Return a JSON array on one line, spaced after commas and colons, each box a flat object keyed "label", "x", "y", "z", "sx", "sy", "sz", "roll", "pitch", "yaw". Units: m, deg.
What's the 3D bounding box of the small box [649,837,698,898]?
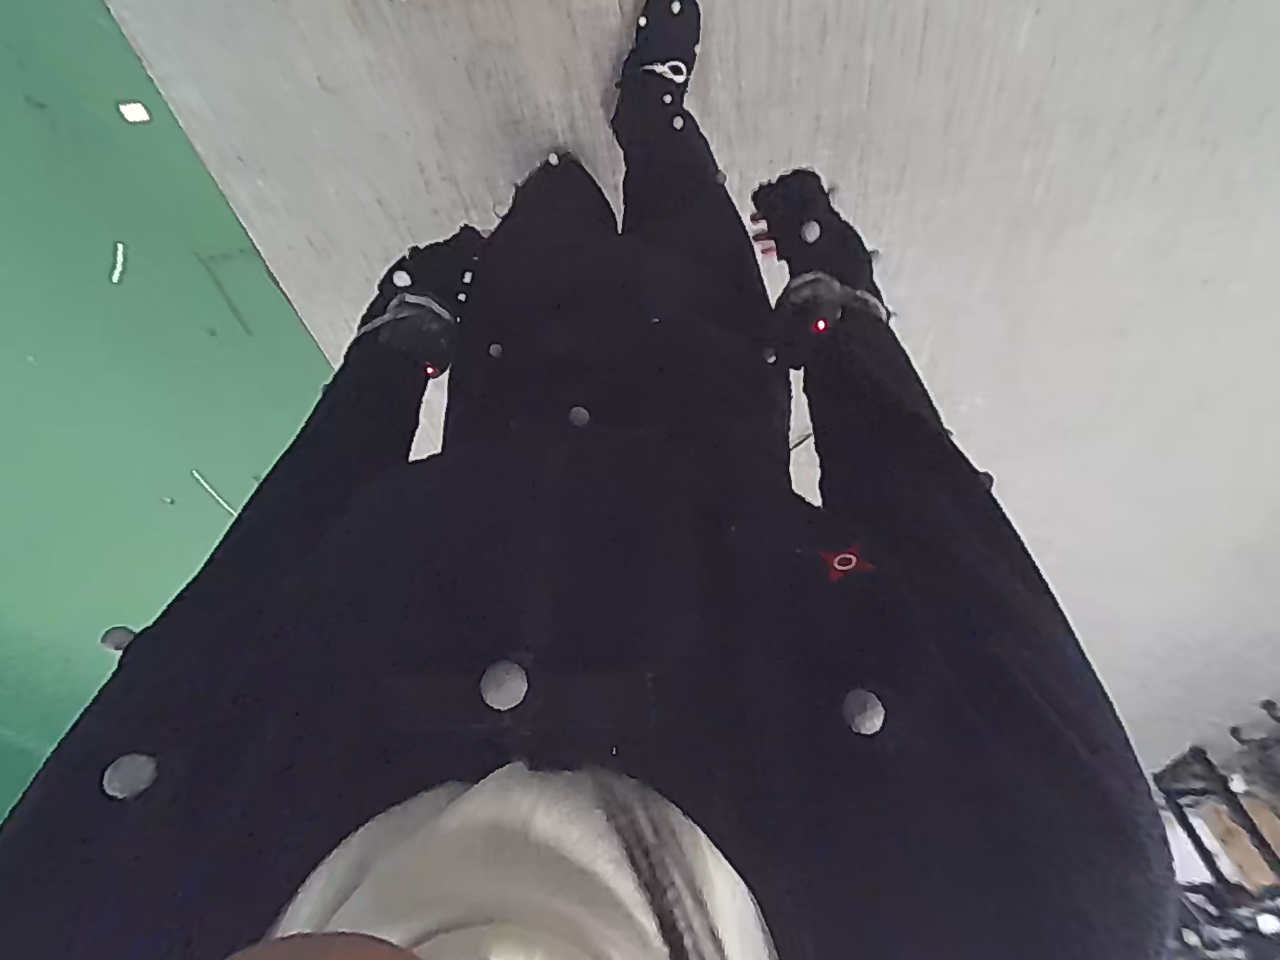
[{"label": "small box", "x": 0.127, "y": 1.484, "z": 2.069, "sx": 0.168, "sy": 0.176, "sz": 0.179, "roll": -7, "pitch": 134, "yaw": 9}]

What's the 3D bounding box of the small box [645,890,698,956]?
[{"label": "small box", "x": 0.115, "y": 1.595, "z": 1.947, "sx": 0.179, "sy": 0.176, "sz": 0.168, "roll": -6, "pitch": 135, "yaw": 6}]
